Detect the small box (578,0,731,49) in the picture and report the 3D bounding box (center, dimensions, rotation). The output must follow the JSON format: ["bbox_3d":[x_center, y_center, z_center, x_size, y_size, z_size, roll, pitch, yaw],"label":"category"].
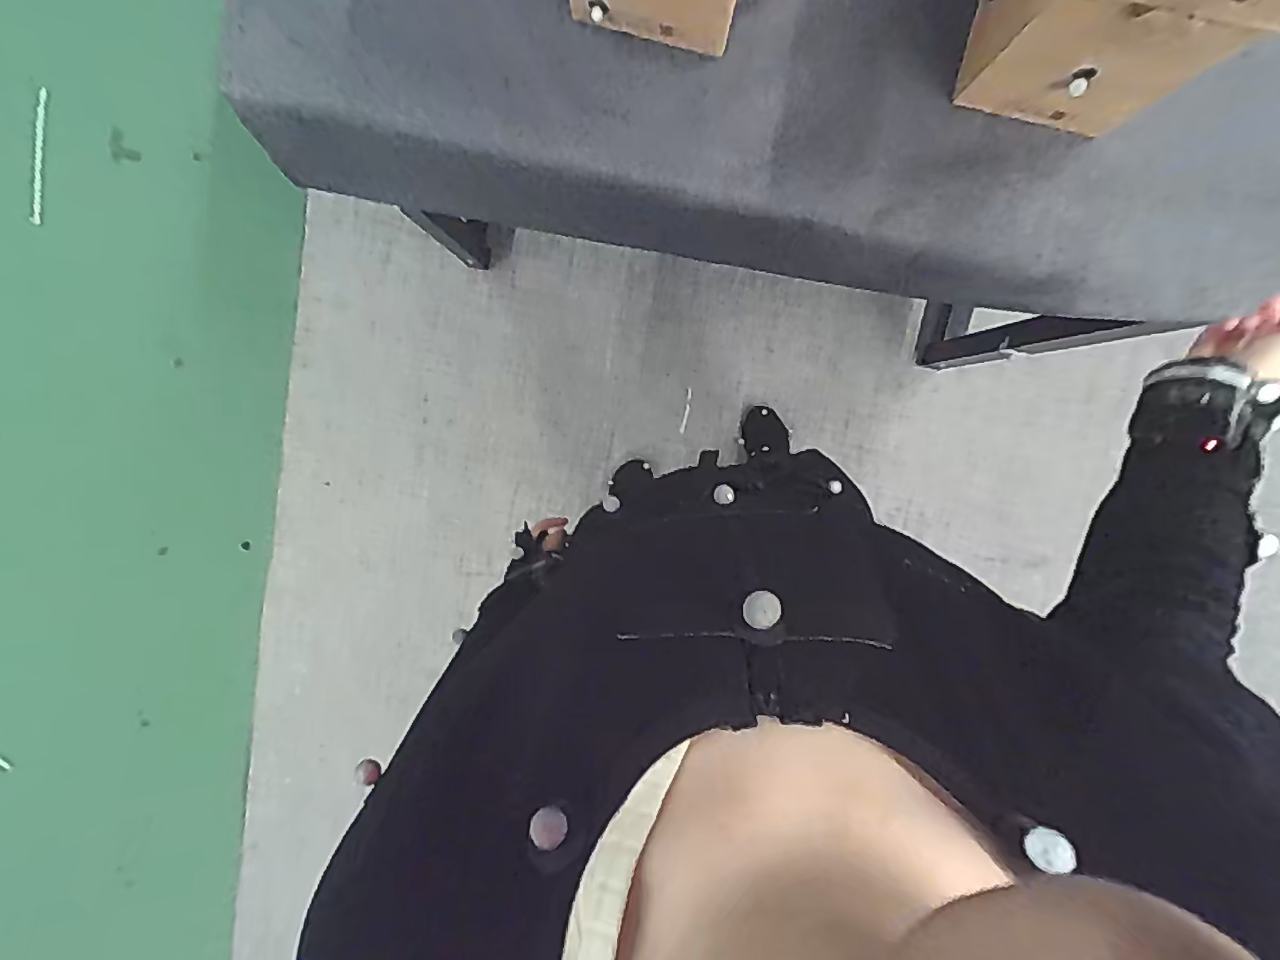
[{"bbox_3d":[0.022,-0.544,0.485,0.168,0.176,0.179,14,95,-1],"label":"small box"}]

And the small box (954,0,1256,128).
[{"bbox_3d":[0.420,-0.459,0.487,0.168,0.176,0.179,12,97,0],"label":"small box"}]
